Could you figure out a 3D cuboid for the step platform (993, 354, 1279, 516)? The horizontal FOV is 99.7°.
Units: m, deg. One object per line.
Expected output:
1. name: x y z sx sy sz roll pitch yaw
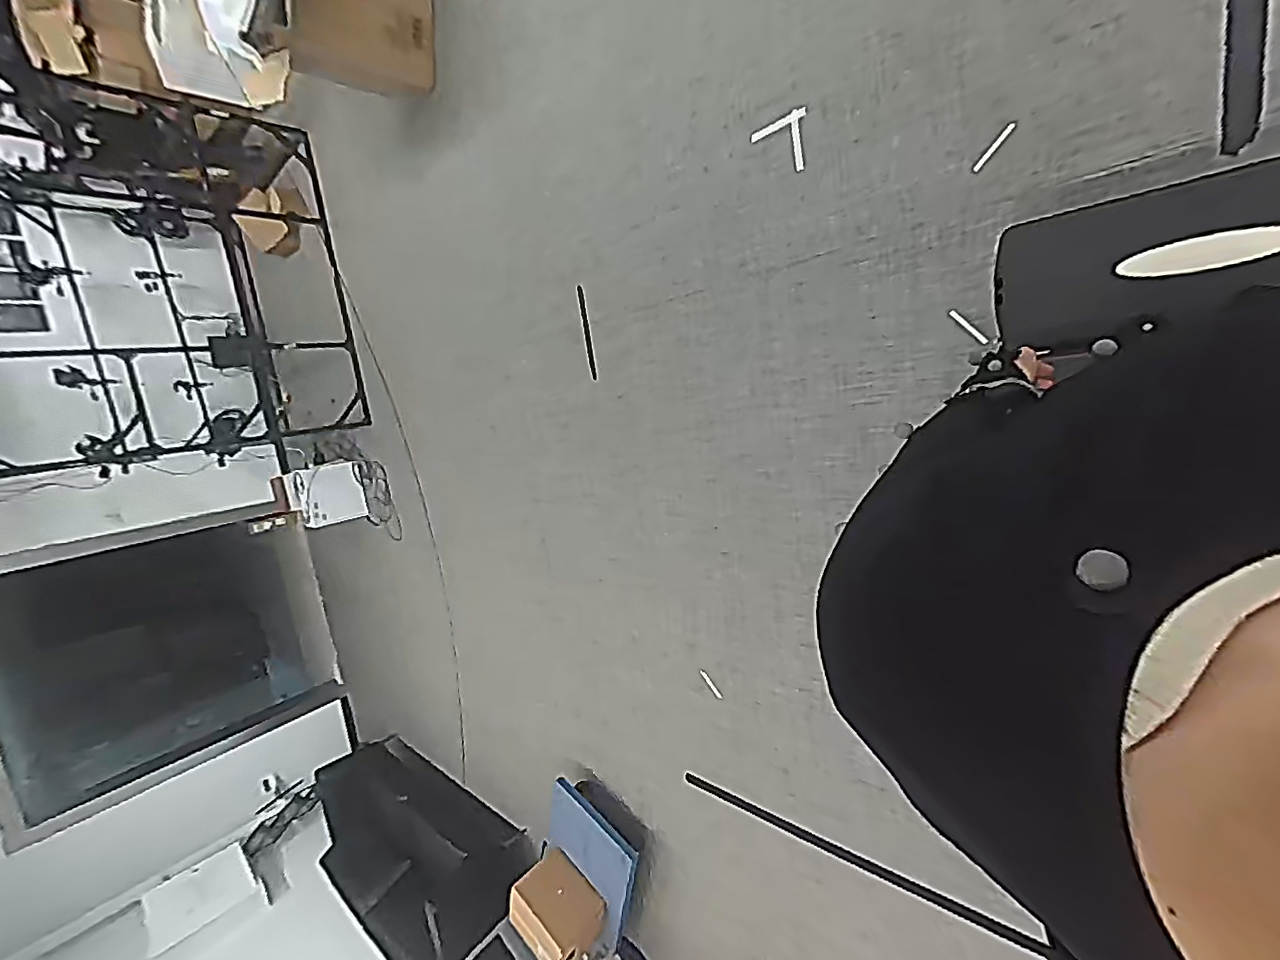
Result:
1. step platform: 1.086 -0.094 1.037 0.684 0.204 0.286 8 106 44
